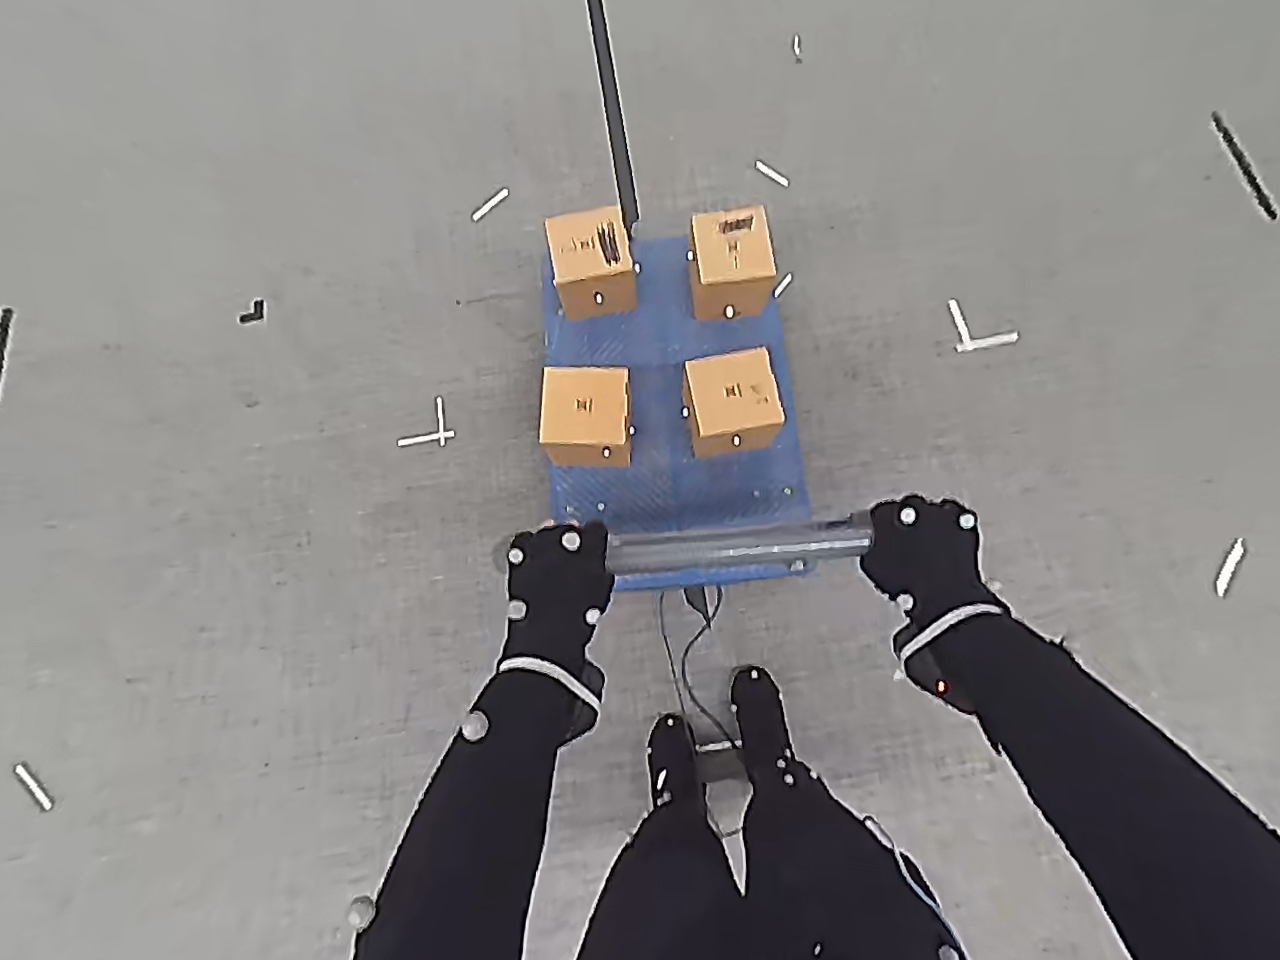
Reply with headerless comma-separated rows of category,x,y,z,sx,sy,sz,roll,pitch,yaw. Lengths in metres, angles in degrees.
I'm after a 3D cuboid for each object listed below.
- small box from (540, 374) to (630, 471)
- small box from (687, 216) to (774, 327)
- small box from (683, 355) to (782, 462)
small box,-0.113,-0.120,1.185,0.179,0.176,0.168,1,75,0
small box,0.203,-0.483,1.269,0.168,0.176,0.179,-6,77,0
small box,0.192,-0.149,1.183,0.179,0.176,0.168,-10,76,-1
